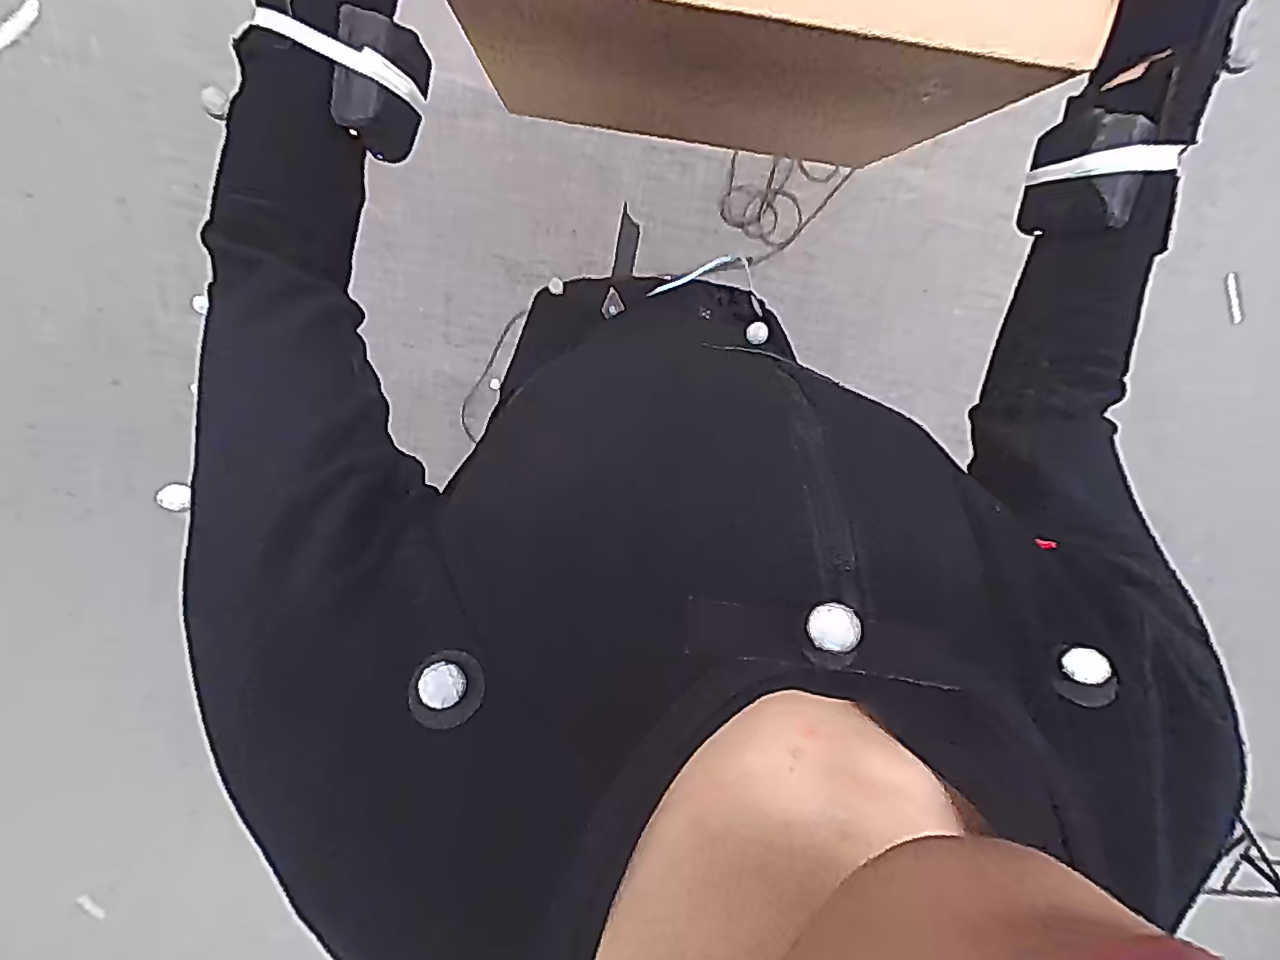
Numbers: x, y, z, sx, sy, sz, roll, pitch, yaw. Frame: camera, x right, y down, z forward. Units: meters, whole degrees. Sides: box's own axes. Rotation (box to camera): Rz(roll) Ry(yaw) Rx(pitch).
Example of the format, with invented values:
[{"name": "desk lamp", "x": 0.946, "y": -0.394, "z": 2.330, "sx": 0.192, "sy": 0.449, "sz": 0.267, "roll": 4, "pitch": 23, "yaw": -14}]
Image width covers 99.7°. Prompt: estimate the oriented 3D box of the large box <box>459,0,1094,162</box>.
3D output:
[{"name": "large box", "x": 0.081, "y": -0.469, "z": 0.410, "sx": 0.408, "sy": 0.320, "sz": 0.320, "roll": 5, "pitch": 110, "yaw": -7}]
